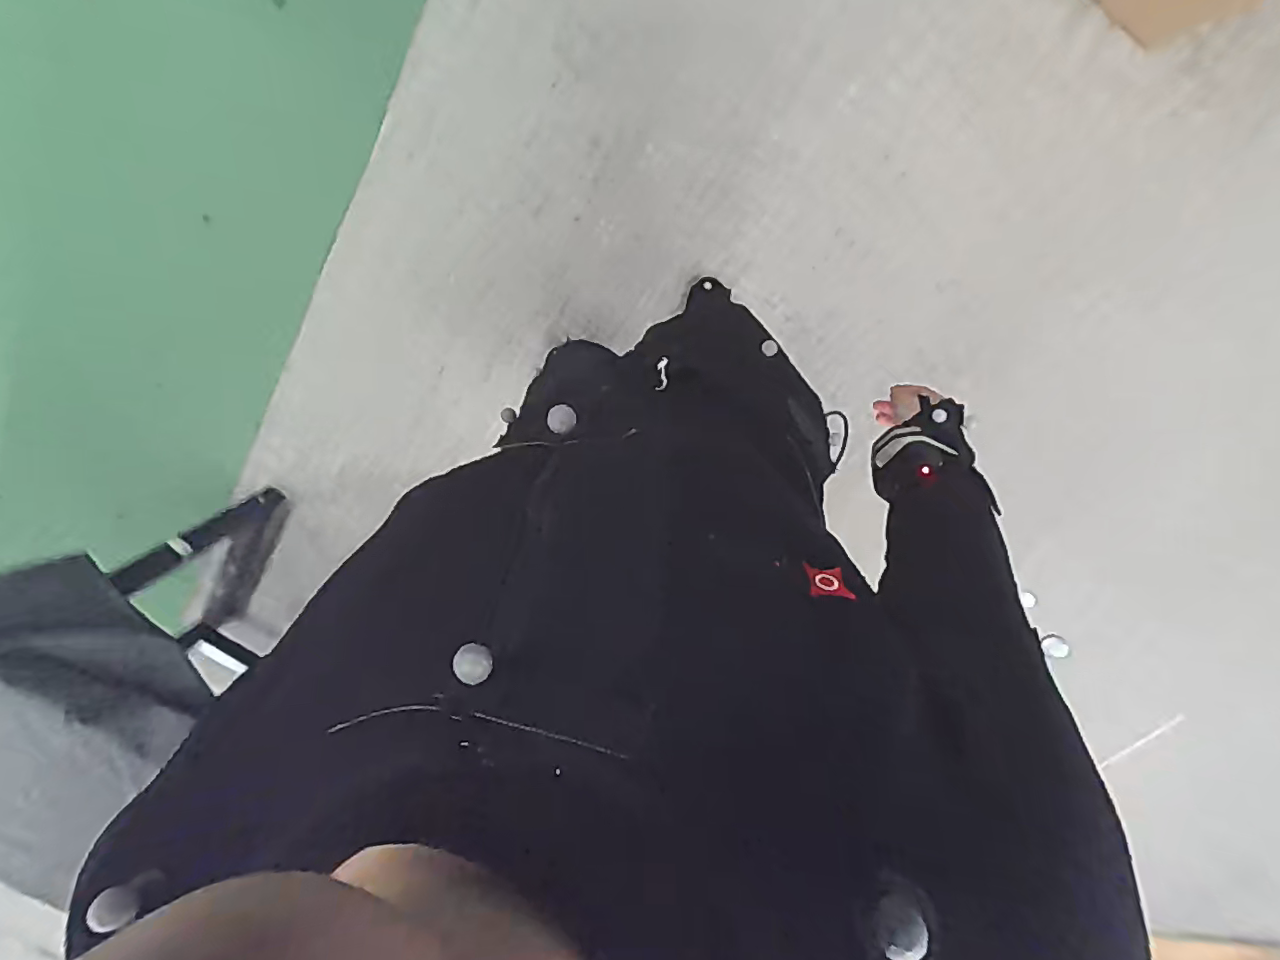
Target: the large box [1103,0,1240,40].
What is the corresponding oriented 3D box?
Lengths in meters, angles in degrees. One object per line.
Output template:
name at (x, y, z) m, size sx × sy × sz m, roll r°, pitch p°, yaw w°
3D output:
large box at (0.813, -0.940, 0.746) m, size 0.408 × 0.320 × 0.320 m, roll 33°, pitch 114°, yaw -8°
